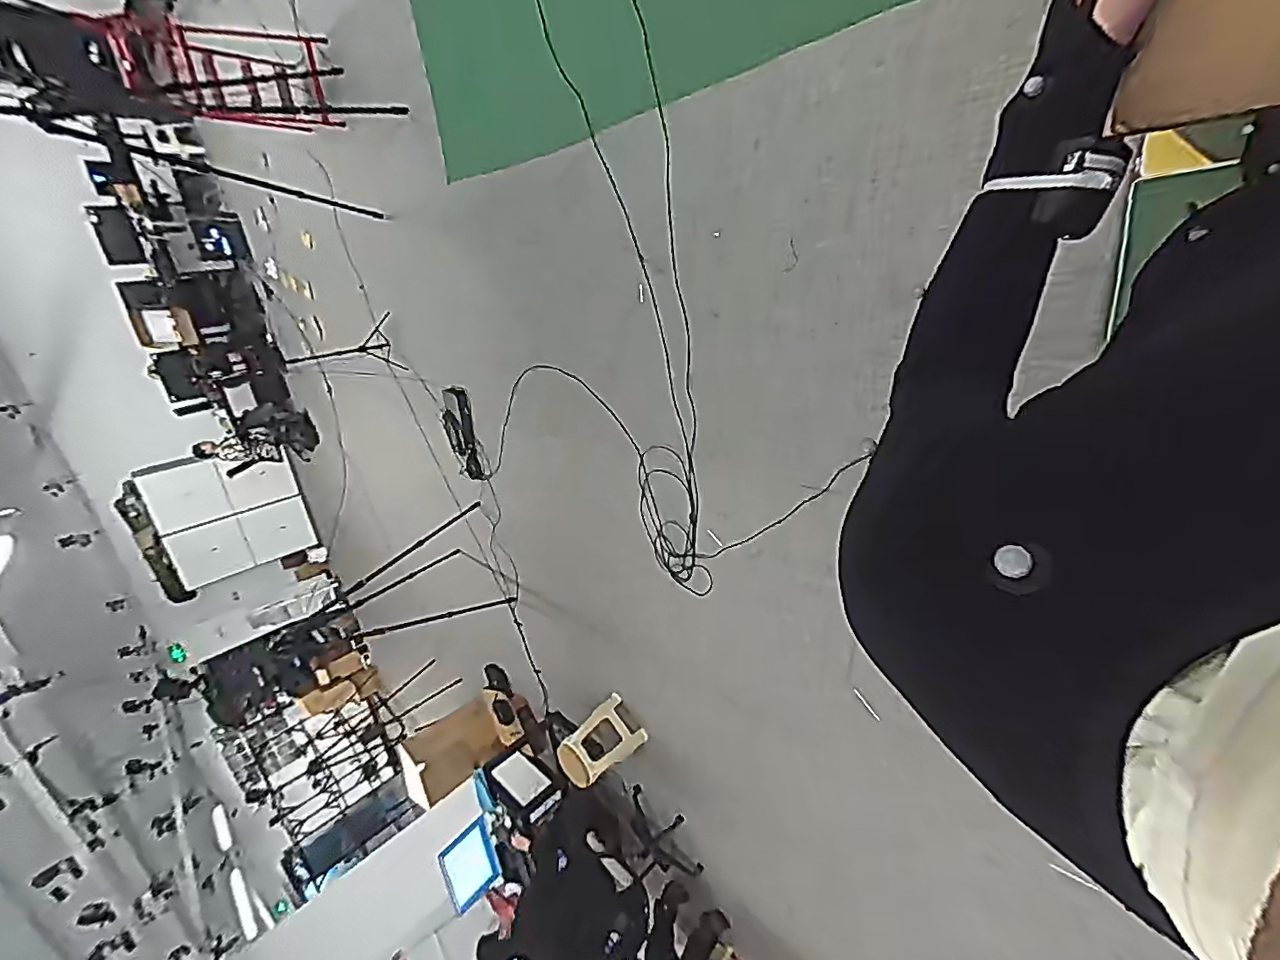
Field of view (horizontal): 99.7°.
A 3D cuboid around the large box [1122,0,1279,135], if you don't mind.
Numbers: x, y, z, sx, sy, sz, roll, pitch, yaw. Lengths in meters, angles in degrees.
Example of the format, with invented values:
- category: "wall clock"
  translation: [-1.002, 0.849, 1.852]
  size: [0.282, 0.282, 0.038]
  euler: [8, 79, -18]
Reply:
- category: "large box"
  translation: [0.588, -0.435, 0.321]
  size: [0.408, 0.320, 0.320]
  euler: [13, 123, 42]
